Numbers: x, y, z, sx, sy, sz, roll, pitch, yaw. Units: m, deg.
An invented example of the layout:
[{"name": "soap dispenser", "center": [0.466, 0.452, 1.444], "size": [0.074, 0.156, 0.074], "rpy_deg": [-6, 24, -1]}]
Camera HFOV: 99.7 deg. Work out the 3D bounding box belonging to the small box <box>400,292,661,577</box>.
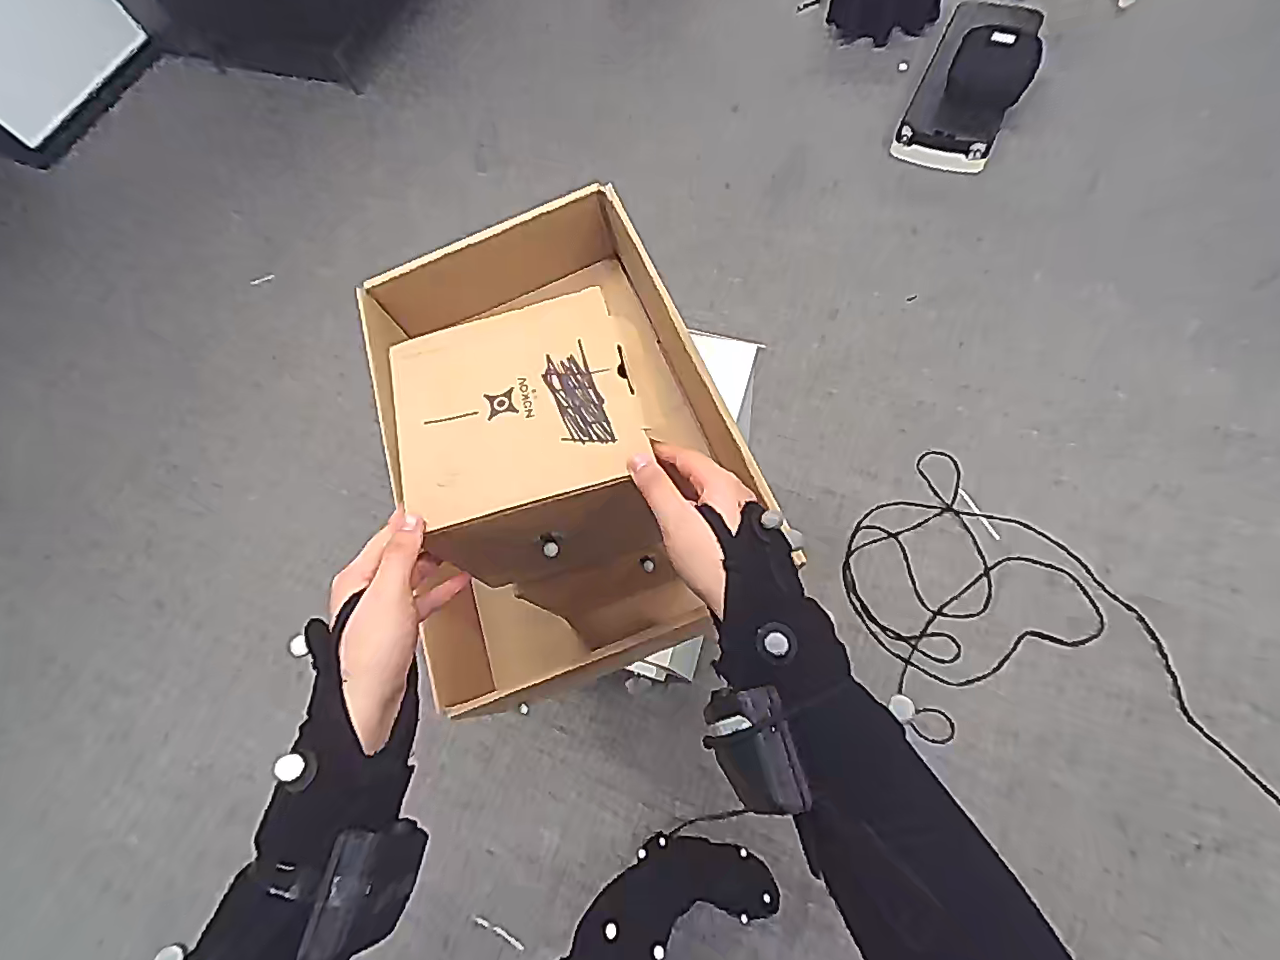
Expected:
[{"name": "small box", "center": [-0.082, -0.028, 0.477], "size": [0.179, 0.176, 0.168], "rpy_deg": [-16, 66, 0]}]
